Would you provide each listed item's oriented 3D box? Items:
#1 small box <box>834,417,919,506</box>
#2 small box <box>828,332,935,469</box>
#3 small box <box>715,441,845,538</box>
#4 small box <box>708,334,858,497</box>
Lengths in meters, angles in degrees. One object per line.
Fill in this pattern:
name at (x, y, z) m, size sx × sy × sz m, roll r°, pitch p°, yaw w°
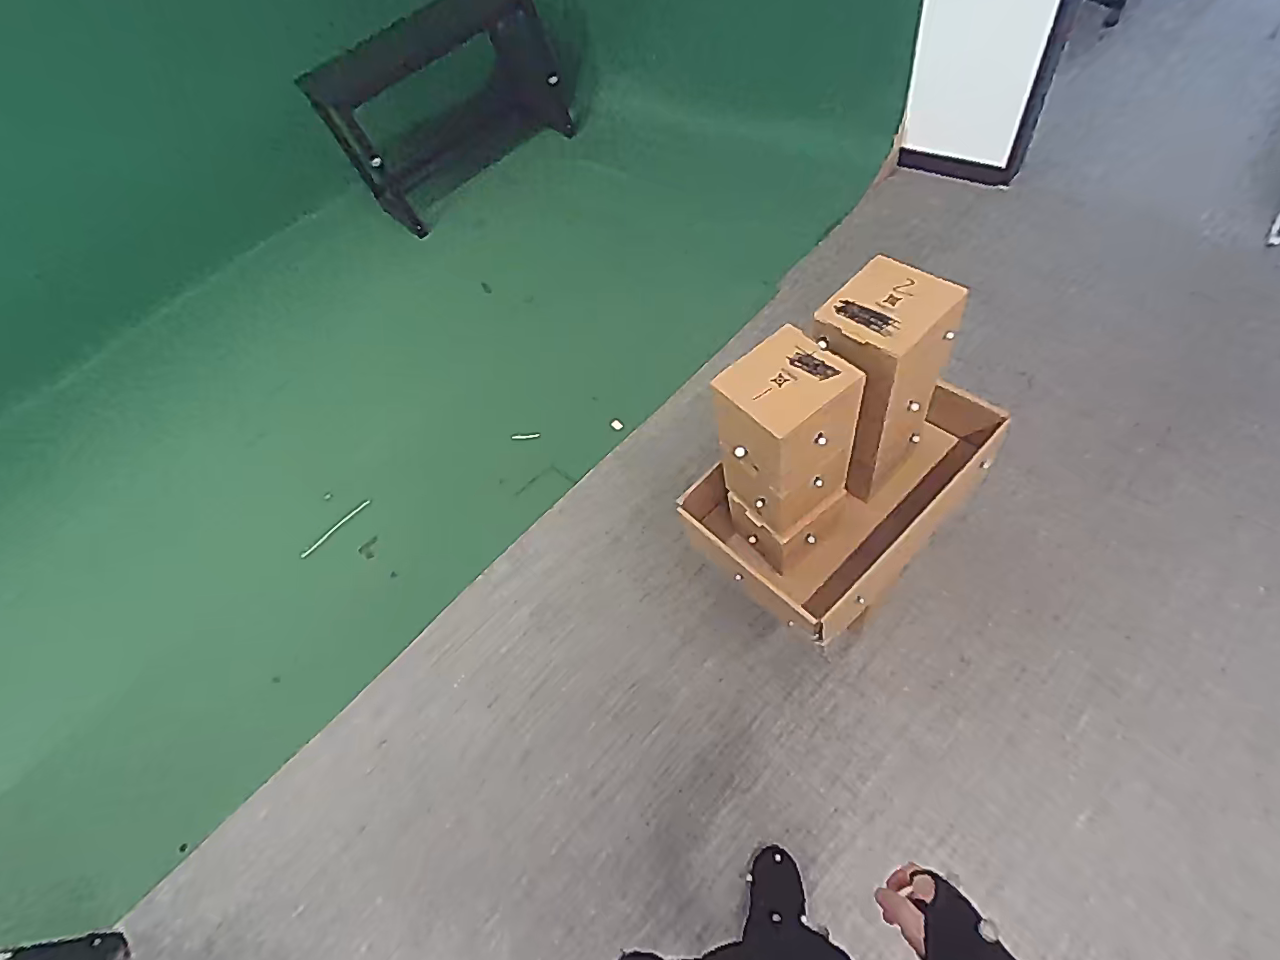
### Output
small box at (0.495, -0.076, 1.229) m, size 0.179 × 0.176 × 0.168 m, roll -43°, pitch 57°, yaw -11°
small box at (0.454, -0.157, 1.096) m, size 0.179 × 0.176 × 0.168 m, roll -44°, pitch 59°, yaw -10°
small box at (0.270, -0.018, 1.053) m, size 0.179 × 0.176 × 0.168 m, roll -36°, pitch 57°, yaw -11°
small box at (0.236, -0.106, 0.919) m, size 0.179 × 0.176 × 0.168 m, roll -37°, pitch 57°, yaw -10°
